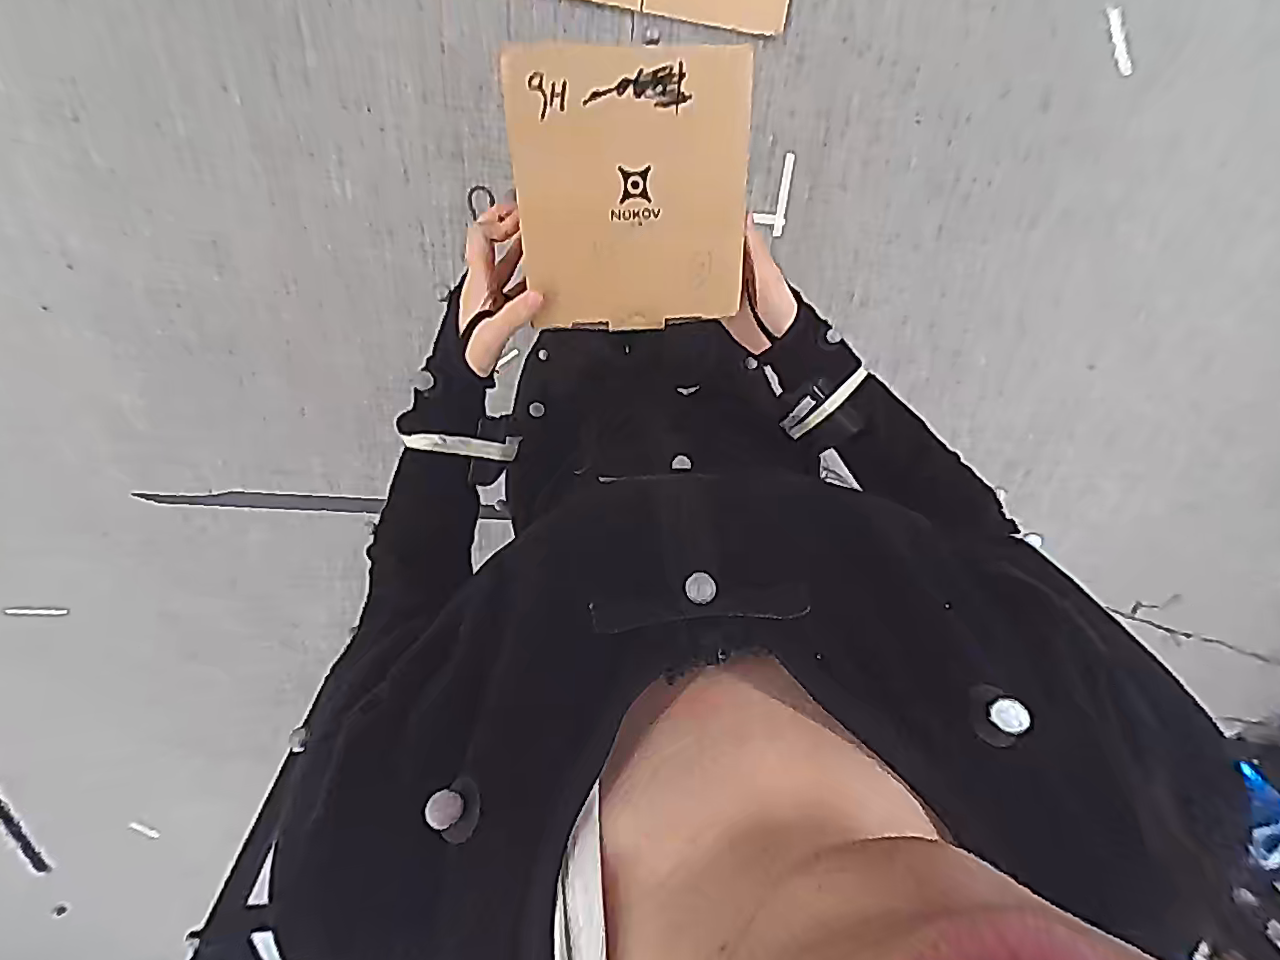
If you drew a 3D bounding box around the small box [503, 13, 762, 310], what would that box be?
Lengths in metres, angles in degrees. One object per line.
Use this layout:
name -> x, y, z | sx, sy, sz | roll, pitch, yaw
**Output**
small box -> -0.014, -0.248, 0.443 | 0.168, 0.176, 0.179 | -5, 119, -7
